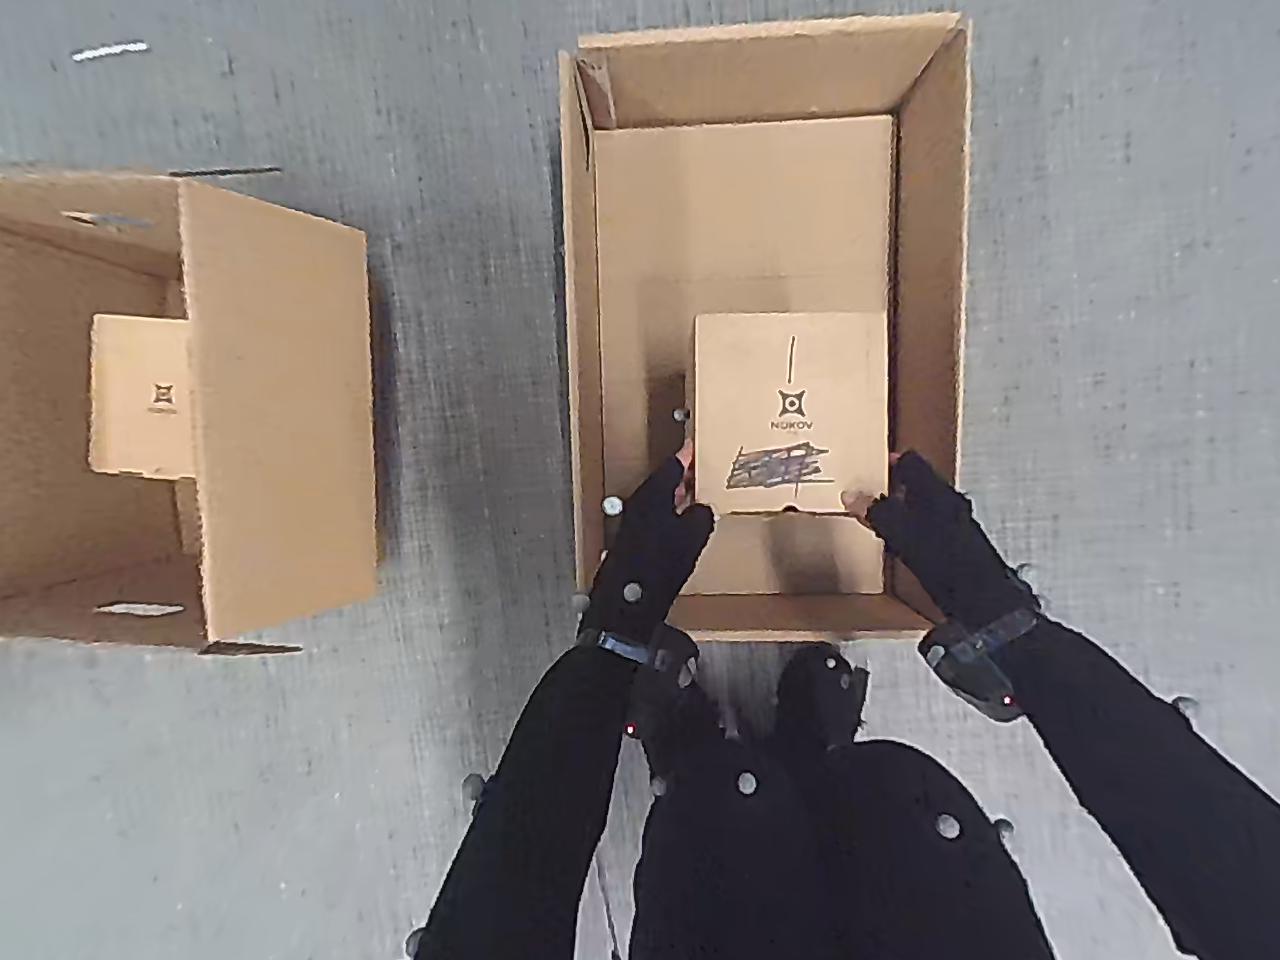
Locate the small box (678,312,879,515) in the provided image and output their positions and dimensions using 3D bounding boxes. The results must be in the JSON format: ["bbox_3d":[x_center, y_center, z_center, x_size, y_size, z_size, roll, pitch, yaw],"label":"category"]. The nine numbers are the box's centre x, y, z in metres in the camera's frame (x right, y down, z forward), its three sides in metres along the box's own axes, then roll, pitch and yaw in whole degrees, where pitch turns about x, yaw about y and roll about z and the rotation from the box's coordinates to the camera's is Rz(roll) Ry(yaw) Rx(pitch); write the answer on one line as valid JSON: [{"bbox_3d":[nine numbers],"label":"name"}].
[{"bbox_3d":[0.126,-0.059,0.550,0.168,0.176,0.179,1,90,2],"label":"small box"}]
